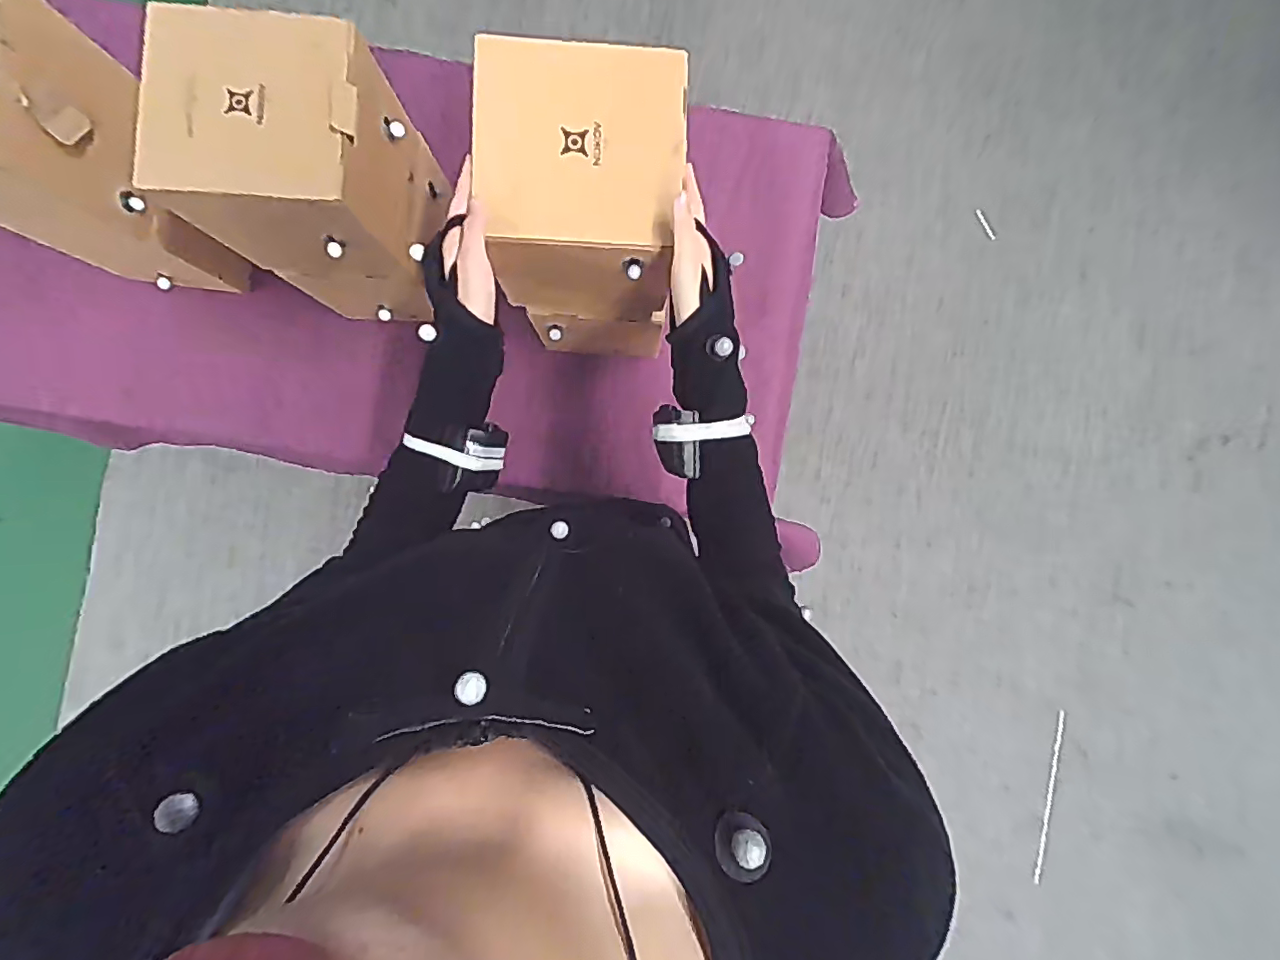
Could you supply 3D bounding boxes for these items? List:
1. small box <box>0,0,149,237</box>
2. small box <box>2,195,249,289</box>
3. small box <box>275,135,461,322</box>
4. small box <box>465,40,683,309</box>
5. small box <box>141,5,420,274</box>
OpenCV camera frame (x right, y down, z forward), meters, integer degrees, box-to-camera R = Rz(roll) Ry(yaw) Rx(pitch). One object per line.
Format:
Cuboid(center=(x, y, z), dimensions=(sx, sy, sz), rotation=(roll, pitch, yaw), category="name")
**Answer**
Cuboid(center=(-0.635, -0.366, 0.541), dimensions=(0.179, 0.176, 0.168), rotation=(8, 90, -1), category="small box")
Cuboid(center=(-0.641, -0.364, 0.705), dimensions=(0.179, 0.176, 0.168), rotation=(7, 89, -2), category="small box")
Cuboid(center=(-0.345, -0.324, 0.714), dimensions=(0.168, 0.176, 0.179), rotation=(2, 90, -1), category="small box")
Cuboid(center=(-0.058, -0.273, 0.523), dimensions=(0.179, 0.176, 0.168), rotation=(1, 90, -4), category="small box")
Cuboid(center=(-0.343, -0.324, 0.551), dimensions=(0.179, 0.176, 0.168), rotation=(4, 89, -1), category="small box")
